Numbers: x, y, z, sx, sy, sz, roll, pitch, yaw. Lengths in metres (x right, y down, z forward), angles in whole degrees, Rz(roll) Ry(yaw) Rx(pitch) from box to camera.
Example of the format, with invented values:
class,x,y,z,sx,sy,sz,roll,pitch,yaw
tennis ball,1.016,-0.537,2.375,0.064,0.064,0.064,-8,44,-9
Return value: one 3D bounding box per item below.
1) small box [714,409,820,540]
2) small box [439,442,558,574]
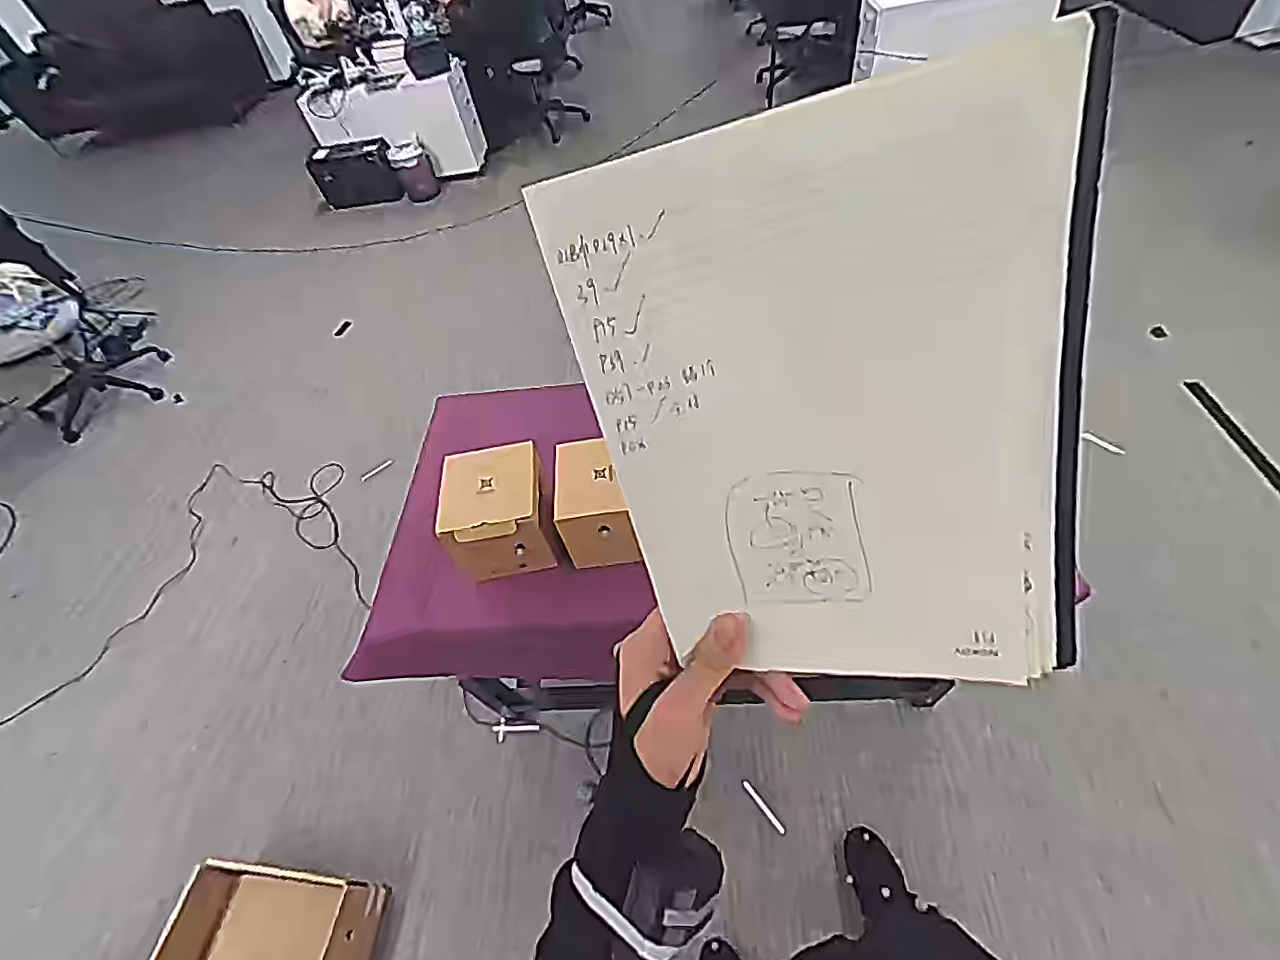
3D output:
class,x,y,z,sx,sy,sz,roll,pitch,yaw
small box,0.218,-0.003,0.962,0.168,0.176,0.179,-2,52,8
small box,-0.250,0.060,0.997,0.168,0.176,0.179,-10,52,1
